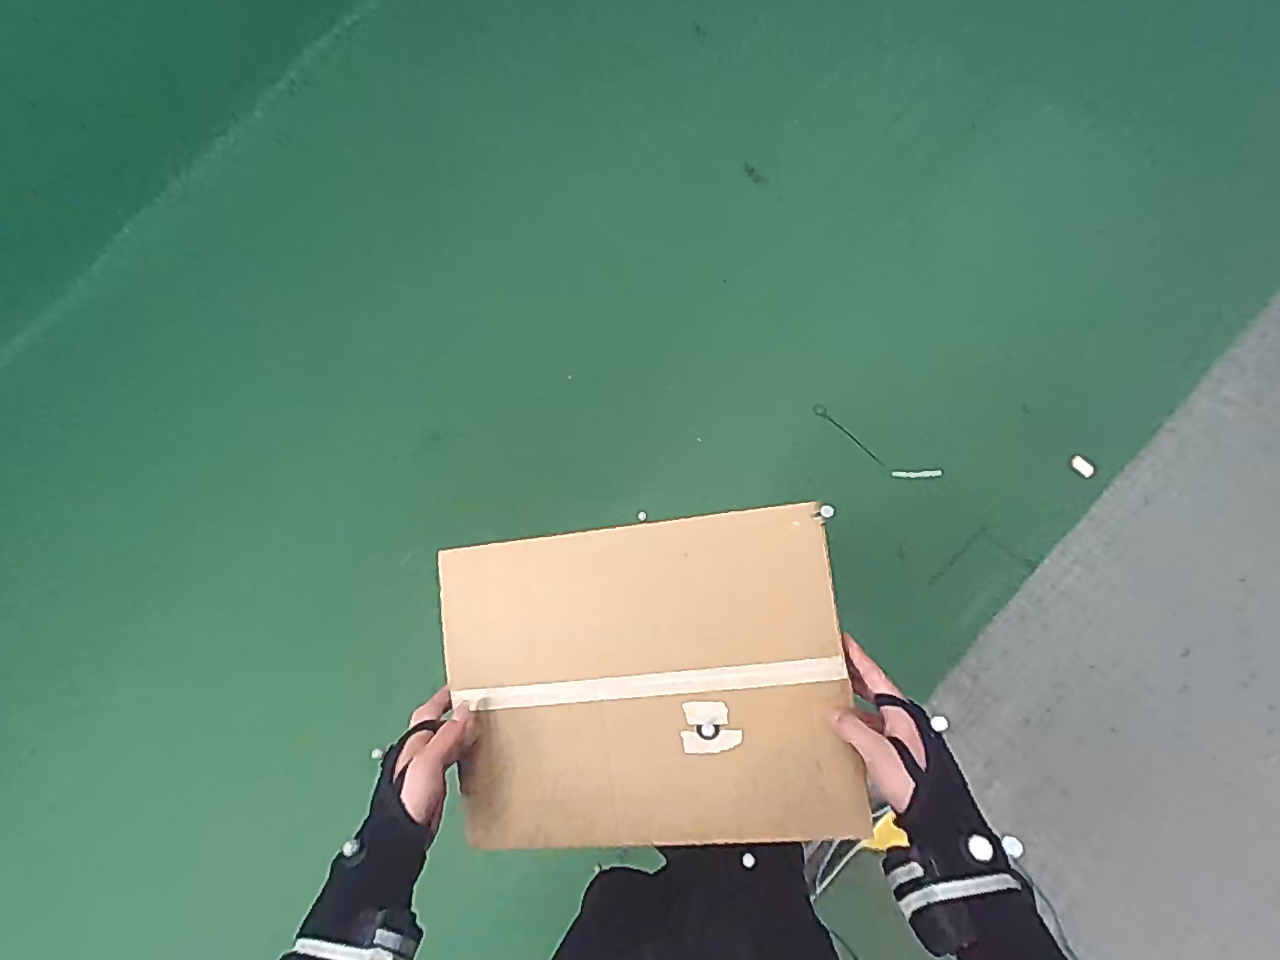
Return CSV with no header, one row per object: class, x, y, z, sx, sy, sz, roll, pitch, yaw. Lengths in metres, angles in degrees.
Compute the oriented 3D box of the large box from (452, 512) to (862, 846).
large box,0.024,0.222,0.704,0.408,0.320,0.320,-7,85,9
